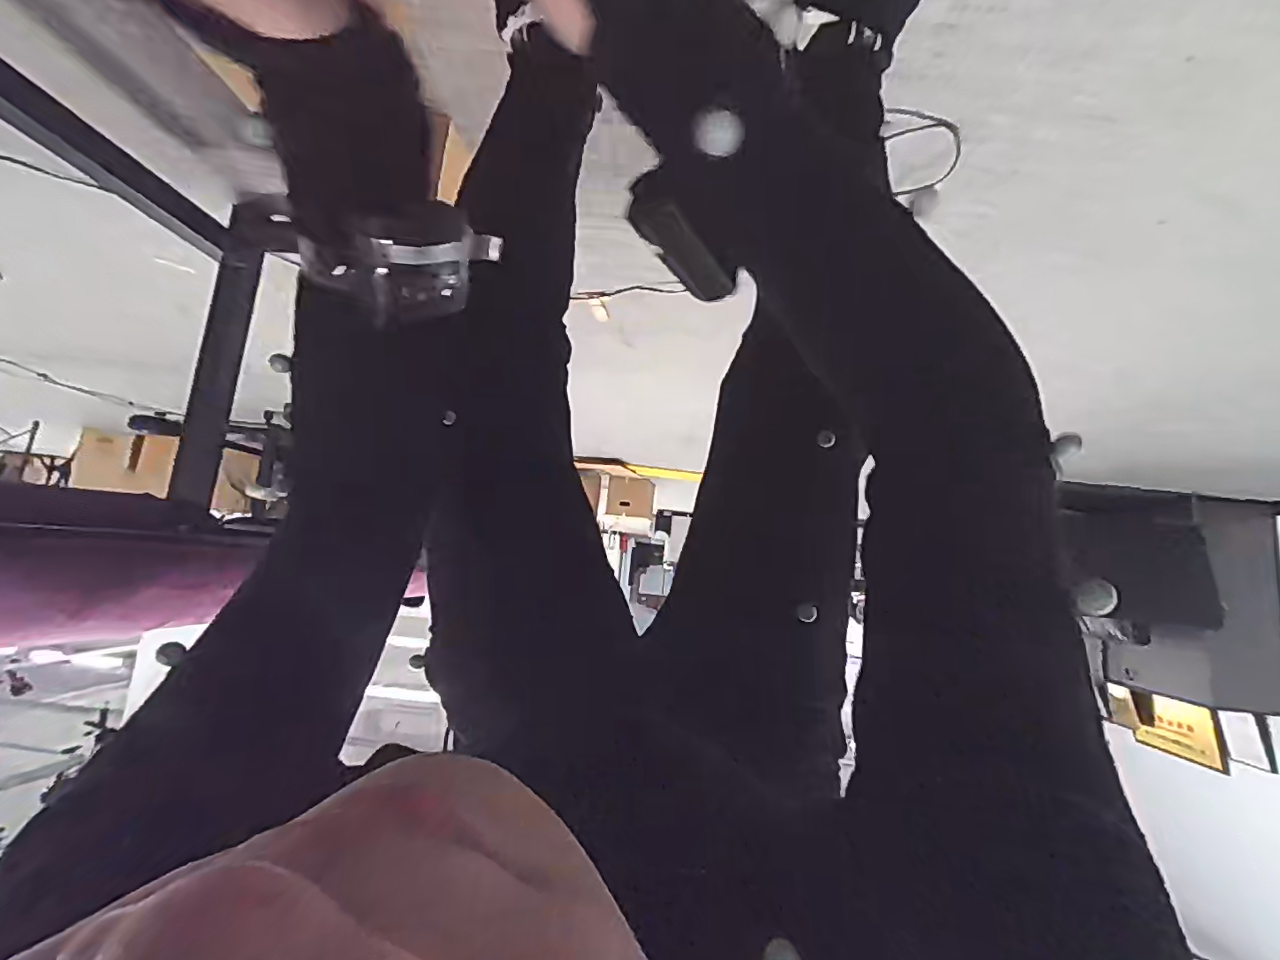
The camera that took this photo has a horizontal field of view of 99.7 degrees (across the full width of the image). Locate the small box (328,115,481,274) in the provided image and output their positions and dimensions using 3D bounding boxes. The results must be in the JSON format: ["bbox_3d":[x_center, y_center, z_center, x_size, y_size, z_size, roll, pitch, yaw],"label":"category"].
[{"bbox_3d":[-0.382,-0.475,0.911,0.168,0.176,0.179,5,171,4],"label":"small box"}]
